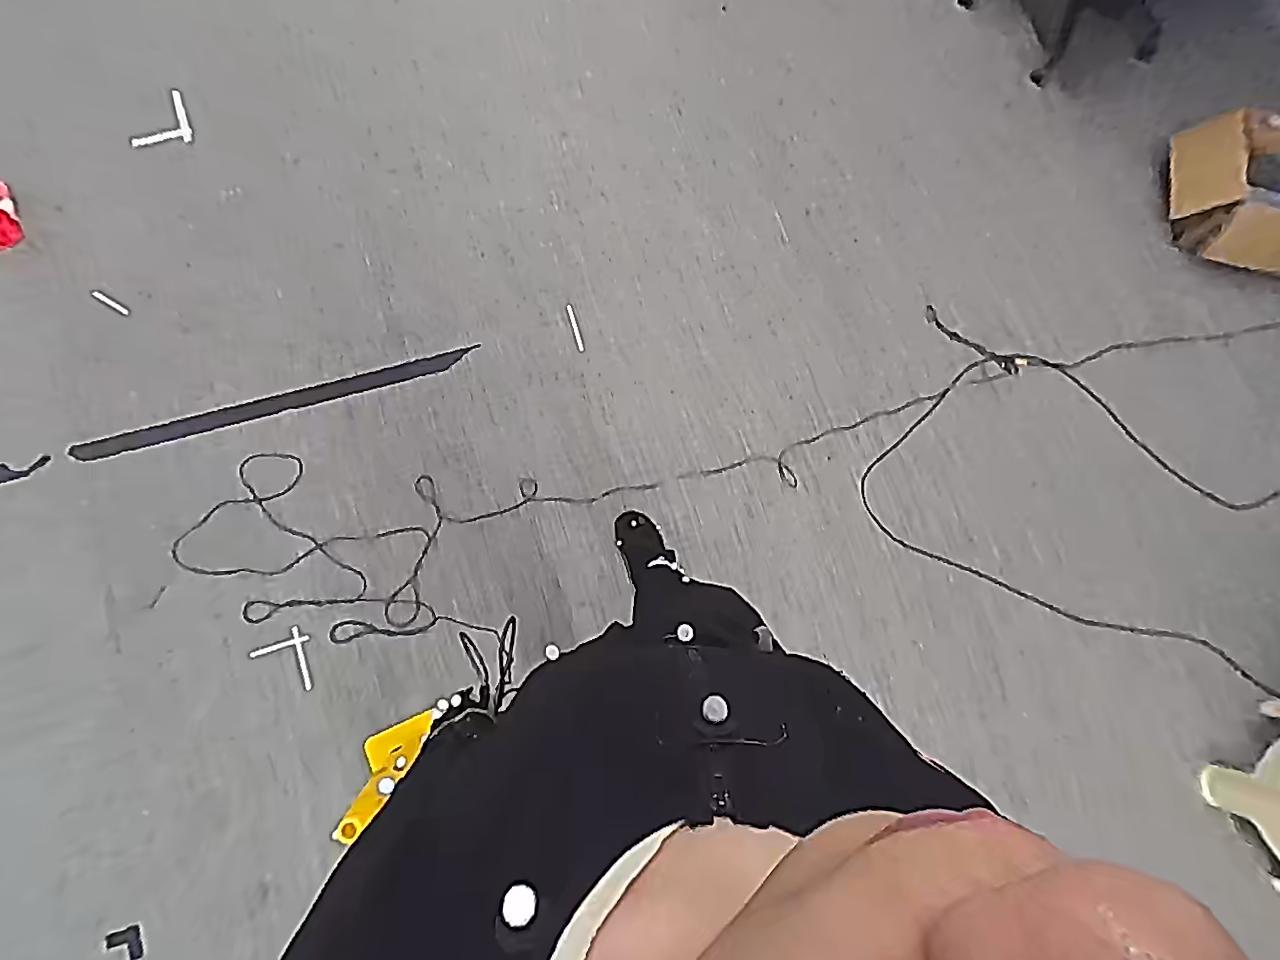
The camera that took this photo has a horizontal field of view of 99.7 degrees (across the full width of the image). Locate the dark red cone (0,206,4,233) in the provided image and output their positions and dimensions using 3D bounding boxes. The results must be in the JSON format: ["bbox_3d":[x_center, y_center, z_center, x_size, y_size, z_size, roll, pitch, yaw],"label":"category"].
[{"bbox_3d":[-1.744,-0.709,1.225,0.202,0.394,0.201,-24,83,-8],"label":"dark red cone"}]
